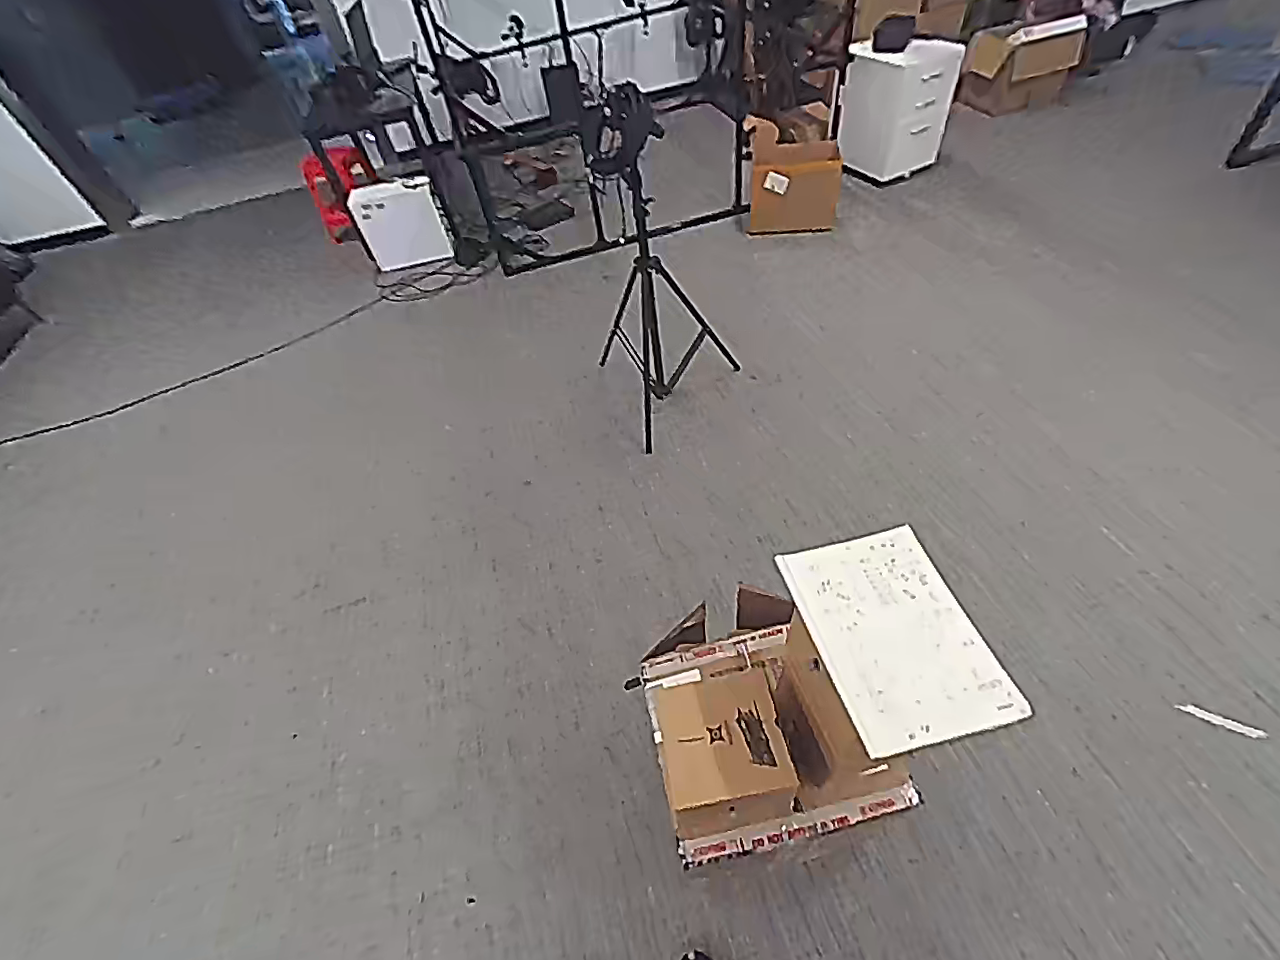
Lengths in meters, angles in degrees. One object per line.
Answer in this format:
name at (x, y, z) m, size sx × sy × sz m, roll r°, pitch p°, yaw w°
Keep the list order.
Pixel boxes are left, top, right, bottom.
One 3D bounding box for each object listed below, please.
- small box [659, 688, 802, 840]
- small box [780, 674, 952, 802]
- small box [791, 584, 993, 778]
small box at (0.133, 0.444, 0.840) m, size 0.179 × 0.176 × 0.168 m, roll -12°, pitch 51°, yaw 0°
small box at (0.342, 0.385, 0.859) m, size 0.179 × 0.176 × 0.168 m, roll -17°, pitch 51°, yaw -7°
small box at (0.322, 0.276, 0.739) m, size 0.168 × 0.176 × 0.179 m, roll -15°, pitch 50°, yaw -6°
